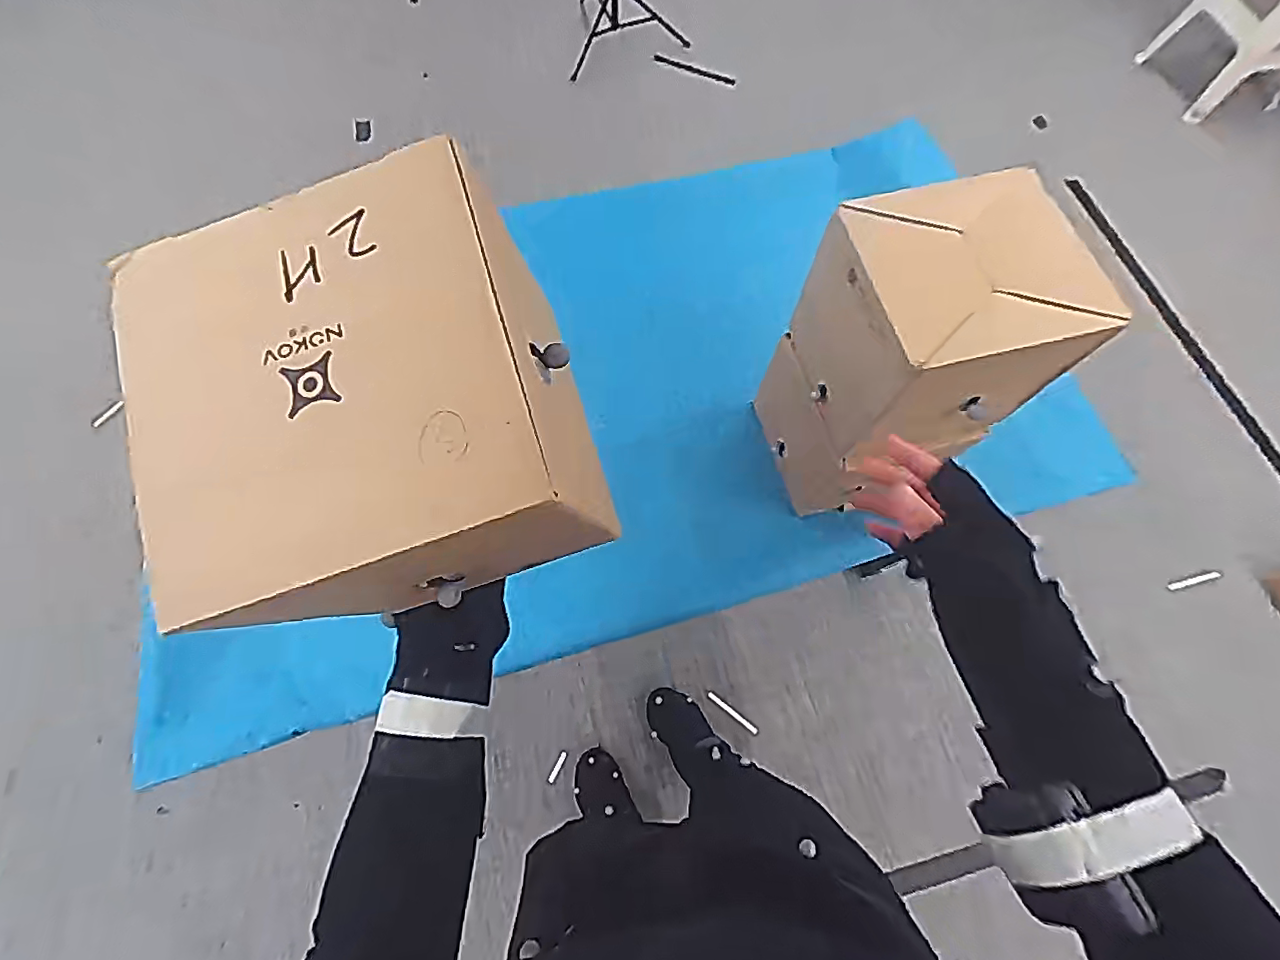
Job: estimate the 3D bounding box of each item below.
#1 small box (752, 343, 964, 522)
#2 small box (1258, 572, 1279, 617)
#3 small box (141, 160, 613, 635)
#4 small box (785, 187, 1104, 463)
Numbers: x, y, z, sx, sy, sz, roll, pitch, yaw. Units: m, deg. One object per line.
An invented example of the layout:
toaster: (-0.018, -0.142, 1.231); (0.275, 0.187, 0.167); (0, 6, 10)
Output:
small box: (0.254, -0.072, 0.654); (0.168, 0.176, 0.179); (-14, 70, -7)
small box: (1.727, 0.296, 1.333); (0.168, 0.176, 0.179); (-12, 69, -6)
small box: (-0.123, -0.027, 0.310); (0.168, 0.176, 0.179); (-18, 77, 2)
small box: (0.261, -0.138, 0.504); (0.179, 0.176, 0.168); (-13, 69, -4)
